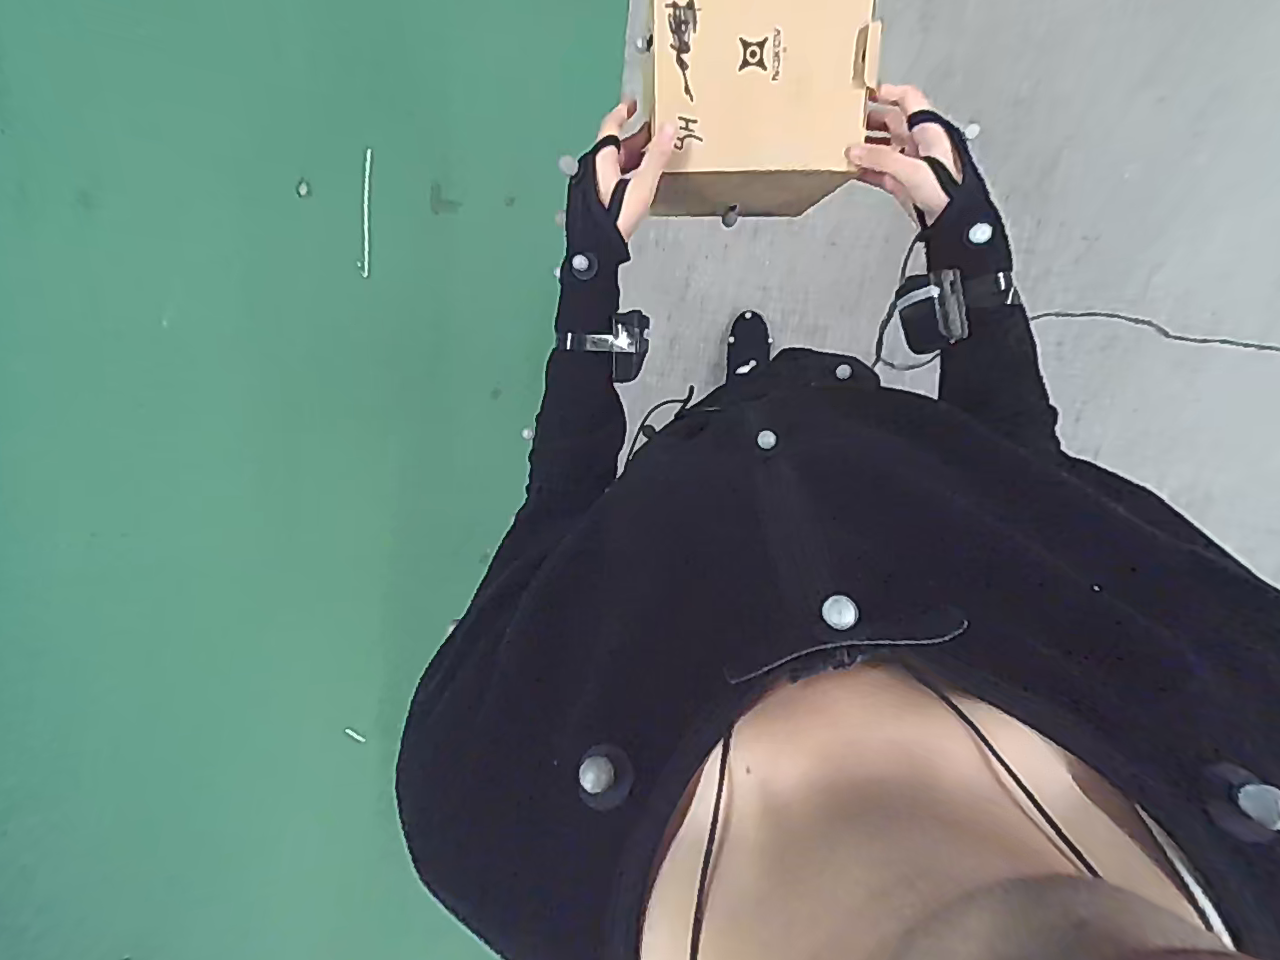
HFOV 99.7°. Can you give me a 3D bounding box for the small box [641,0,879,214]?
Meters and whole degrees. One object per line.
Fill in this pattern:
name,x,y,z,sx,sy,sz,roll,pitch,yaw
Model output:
small box,0.094,-0.355,0.498,0.179,0.176,0.168,-1,103,-3
